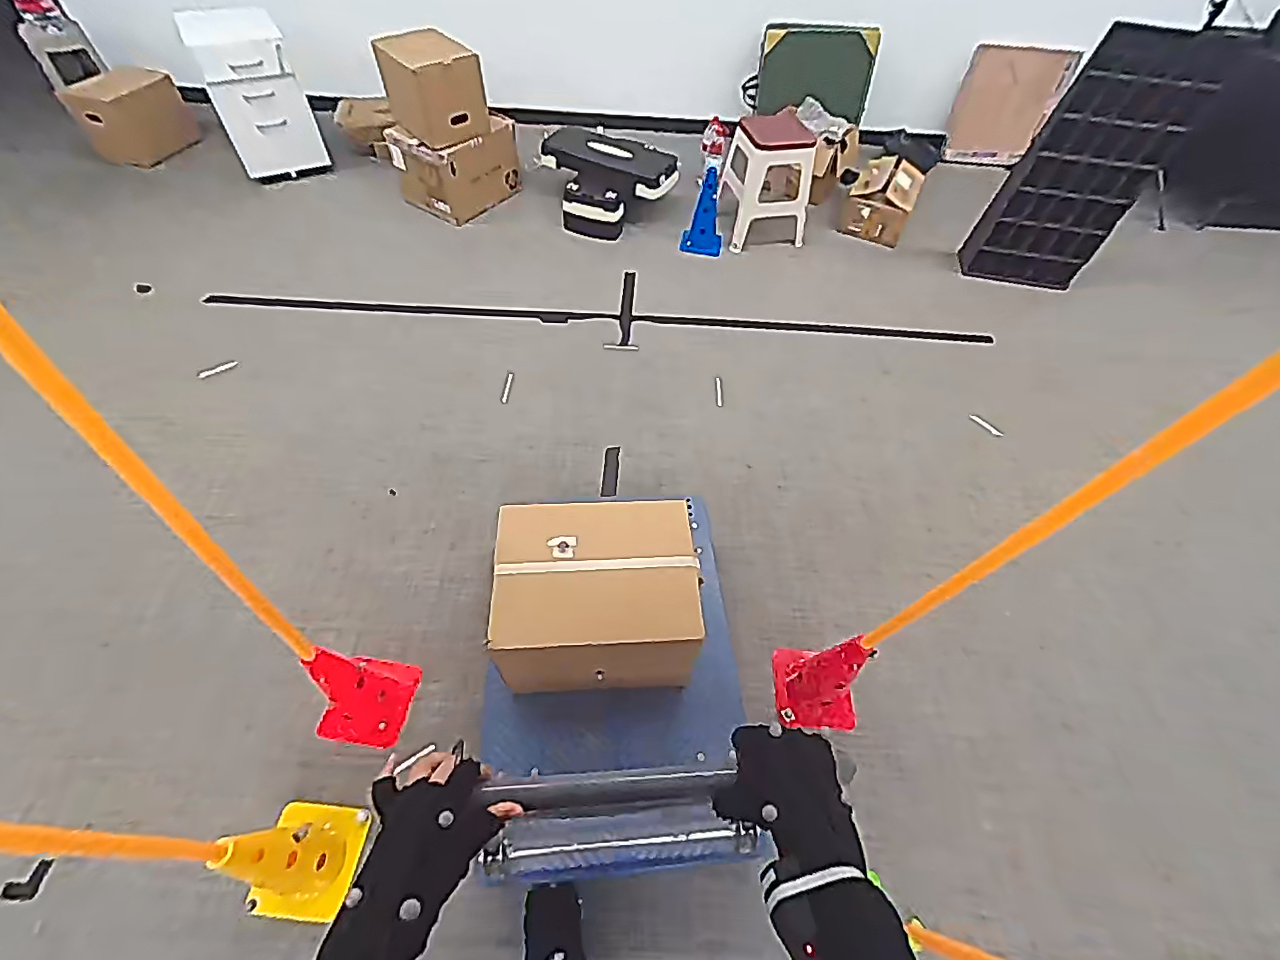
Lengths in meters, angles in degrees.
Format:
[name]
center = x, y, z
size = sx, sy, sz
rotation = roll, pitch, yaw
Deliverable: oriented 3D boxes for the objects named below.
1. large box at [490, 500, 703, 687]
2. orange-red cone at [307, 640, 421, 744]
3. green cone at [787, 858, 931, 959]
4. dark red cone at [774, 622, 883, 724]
[large box]
center = -0.092, 0.261, 1.210
size = 0.408, 0.320, 0.320
rotation = -1, 54, -3
[orange-red cone]
center = -0.664, 0.440, 1.224
size = 0.198, 0.360, 0.199
rotation = 10, 52, 3
[green cone]
center = 0.427, 0.830, 1.006
size = 0.202, 0.368, 0.200
rotation = 8, 54, 0
[dark red cone]
center = 0.469, 0.431, 1.279
size = 0.201, 0.394, 0.202
rotation = 5, 54, -3
